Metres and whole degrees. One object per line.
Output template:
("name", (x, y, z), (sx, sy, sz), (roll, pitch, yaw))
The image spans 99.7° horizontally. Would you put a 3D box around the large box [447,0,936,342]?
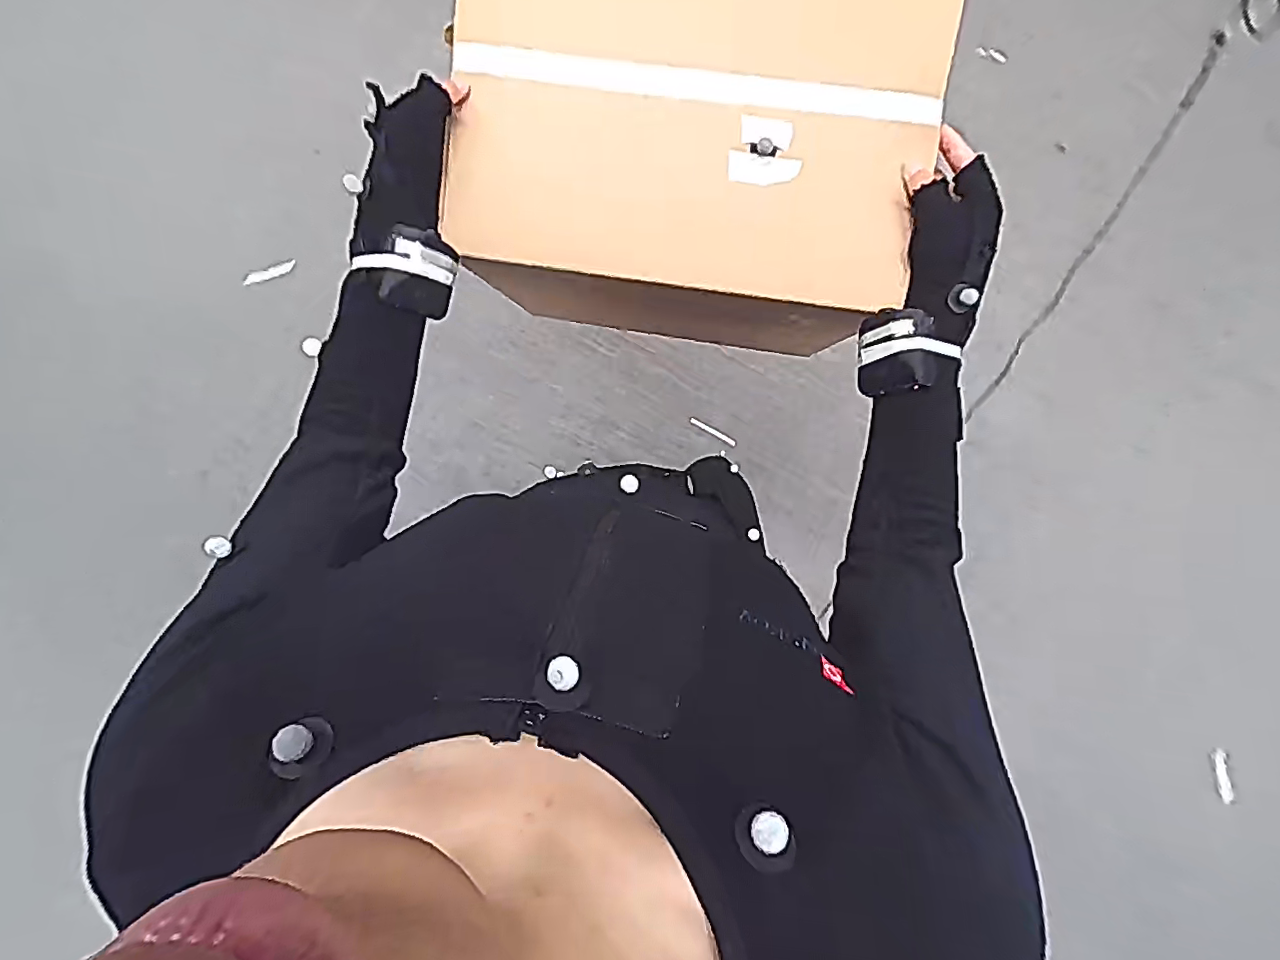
("large box", (0.043, -0.351, 0.610), (0.408, 0.320, 0.320), (8, 98, 2))
